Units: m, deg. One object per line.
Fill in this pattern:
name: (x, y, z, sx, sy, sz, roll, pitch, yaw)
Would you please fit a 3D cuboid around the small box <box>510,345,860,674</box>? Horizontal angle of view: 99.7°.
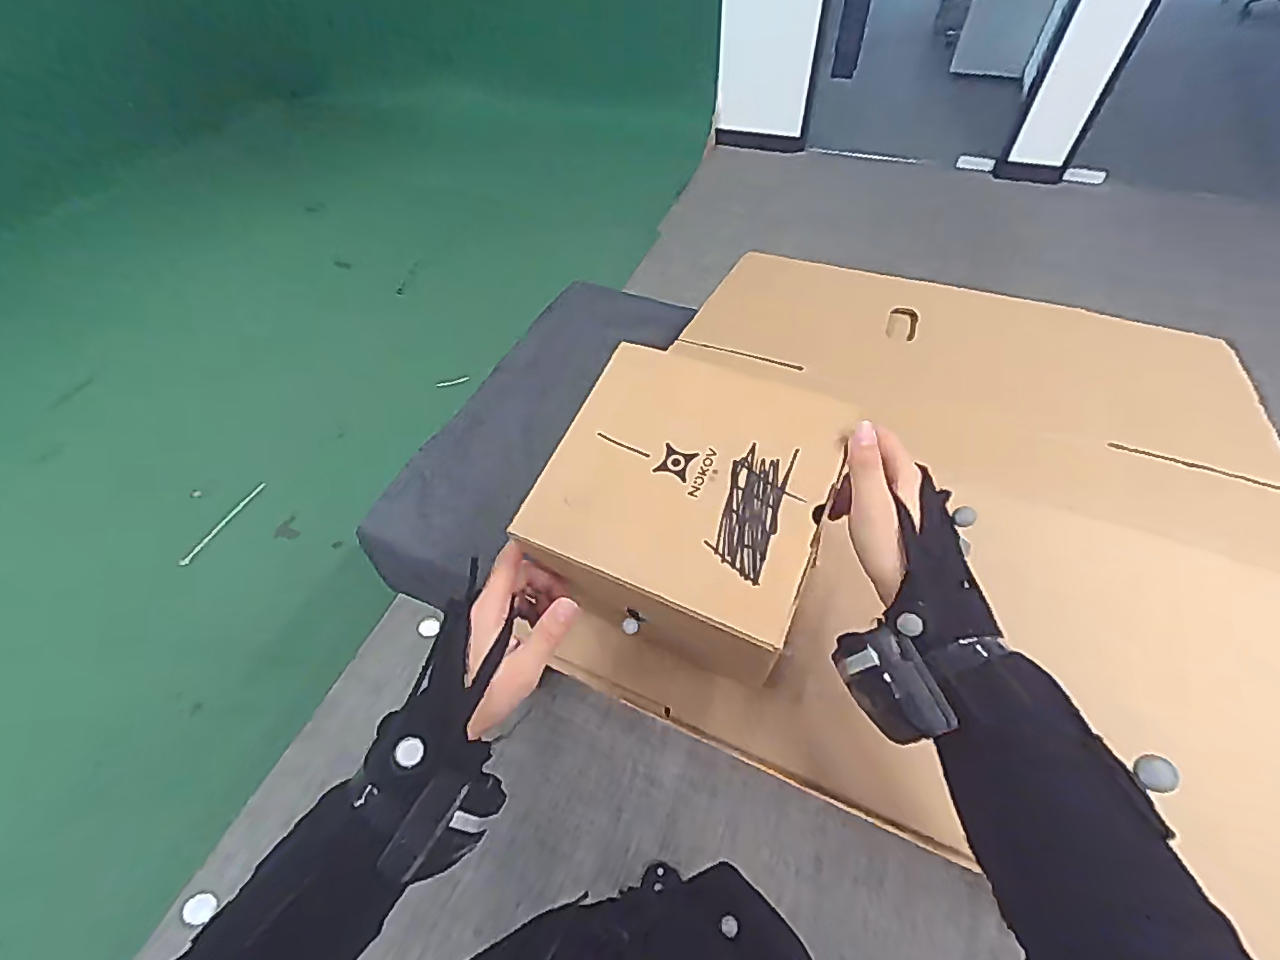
small box: (0.040, 0.032, 0.412, 0.179, 0.176, 0.168, 20, 67, 18)
